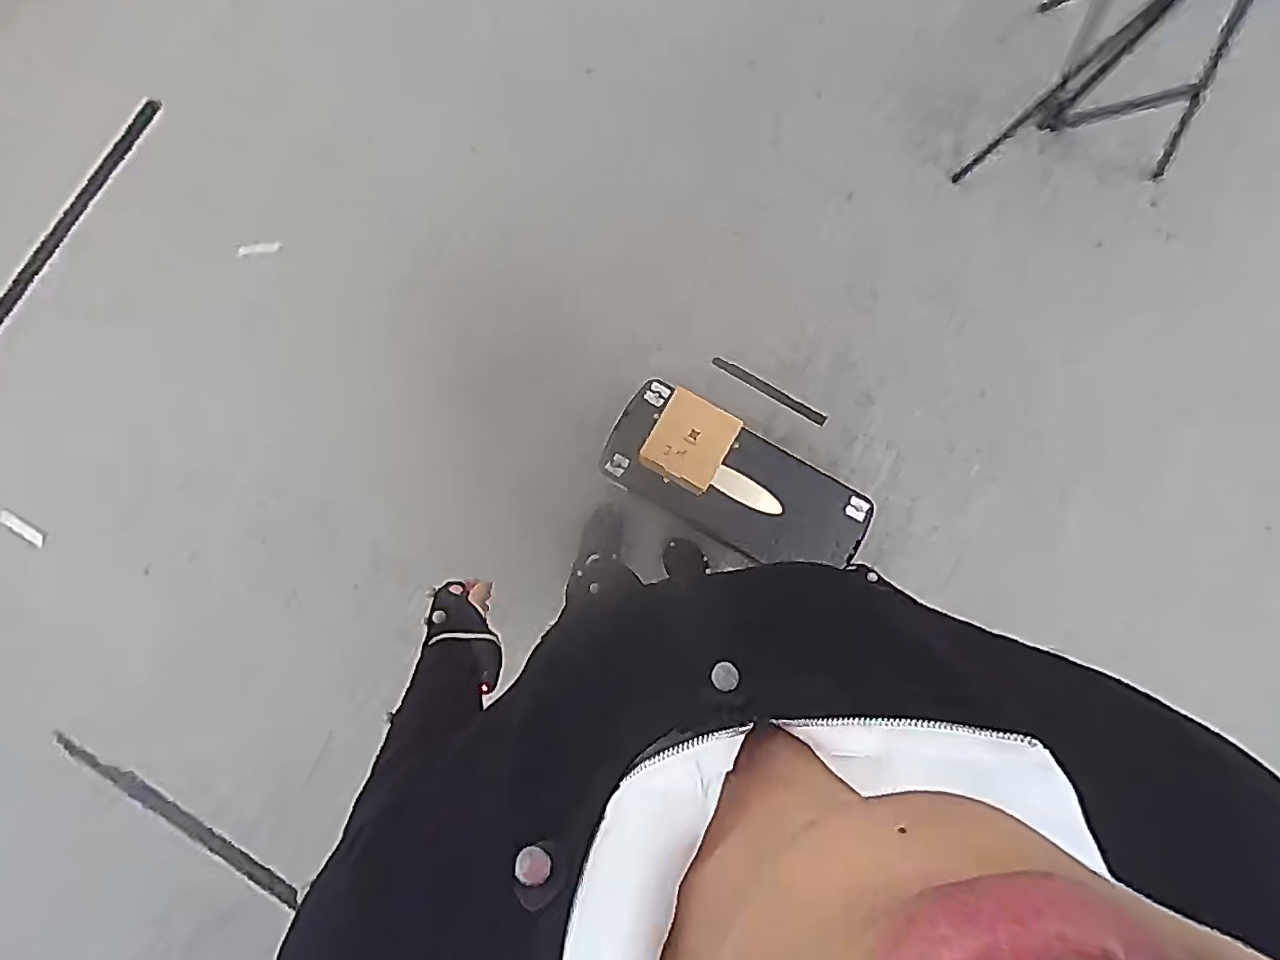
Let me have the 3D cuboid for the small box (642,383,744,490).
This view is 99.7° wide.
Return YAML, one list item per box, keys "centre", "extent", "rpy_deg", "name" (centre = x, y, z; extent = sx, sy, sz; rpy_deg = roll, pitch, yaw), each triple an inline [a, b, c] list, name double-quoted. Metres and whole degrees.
- centre: [0.111, -0.093, 1.239]
  extent: [0.168, 0.176, 0.179]
  rpy_deg: [30, 86, 2]
  name: "small box"
